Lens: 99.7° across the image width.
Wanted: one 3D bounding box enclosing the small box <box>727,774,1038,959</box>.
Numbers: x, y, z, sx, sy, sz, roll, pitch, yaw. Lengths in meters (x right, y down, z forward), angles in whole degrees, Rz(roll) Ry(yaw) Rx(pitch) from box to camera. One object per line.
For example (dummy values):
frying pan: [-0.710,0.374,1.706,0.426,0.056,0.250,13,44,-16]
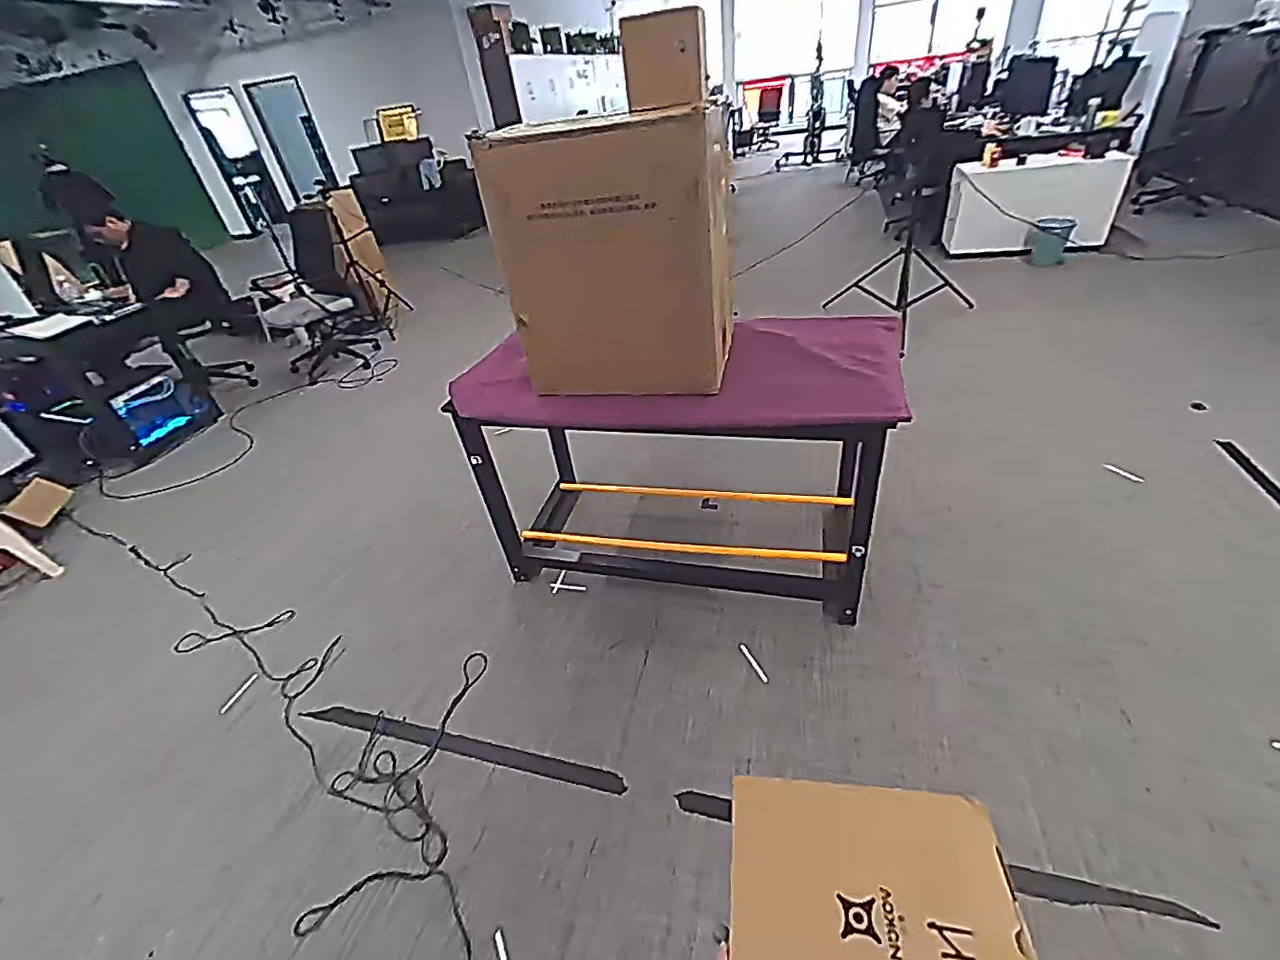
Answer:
small box: [0.154,0.335,0.376,0.179,0.176,0.168,0,36,12]
